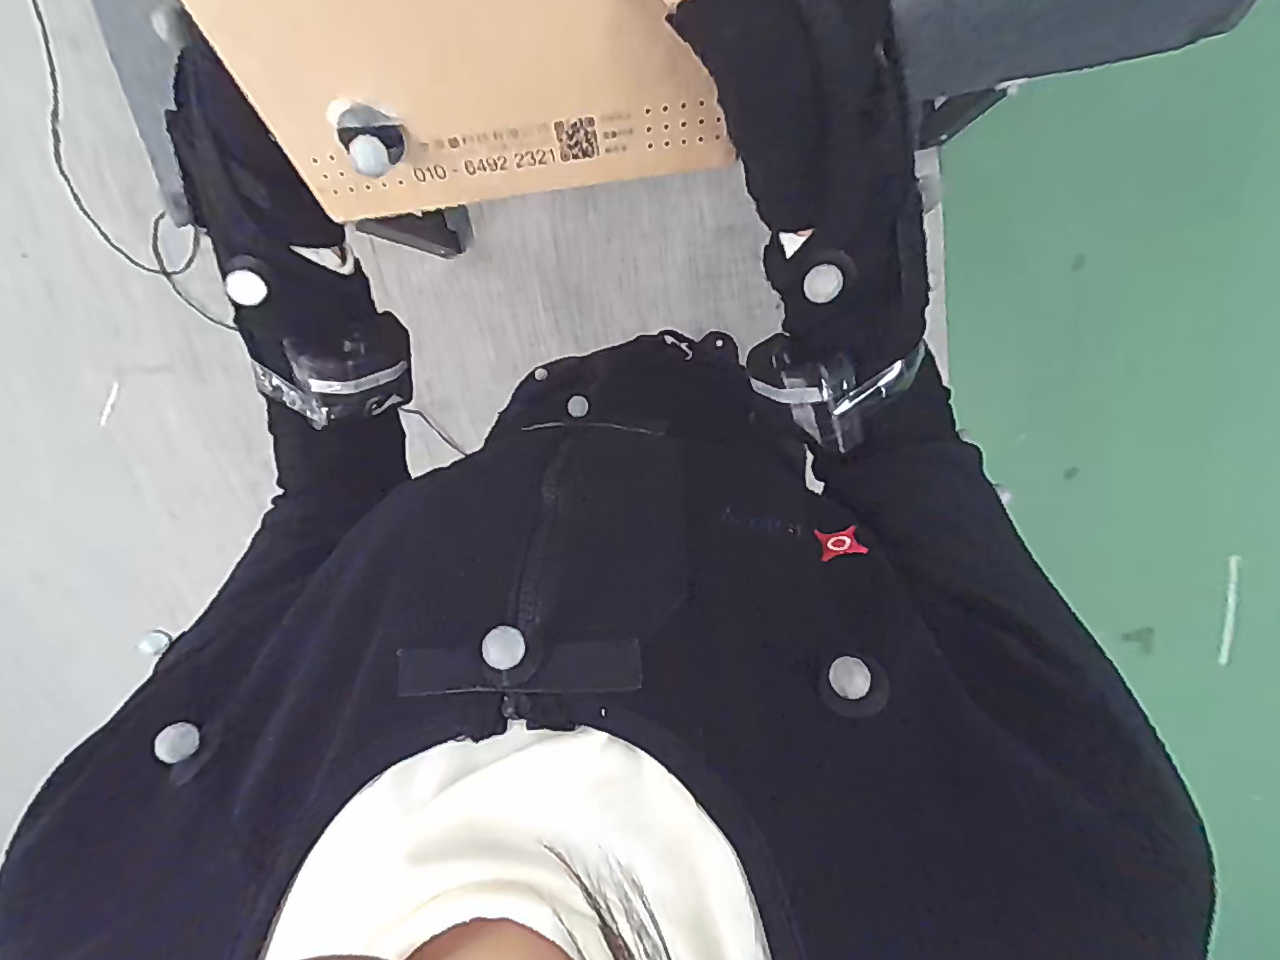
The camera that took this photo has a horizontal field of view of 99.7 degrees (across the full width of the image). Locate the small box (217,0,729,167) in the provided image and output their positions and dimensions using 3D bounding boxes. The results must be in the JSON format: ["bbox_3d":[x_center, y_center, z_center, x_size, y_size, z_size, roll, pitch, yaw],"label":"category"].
[{"bbox_3d":[-0.060,-0.234,0.183,0.168,0.176,0.179,-7,64,1],"label":"small box"}]
